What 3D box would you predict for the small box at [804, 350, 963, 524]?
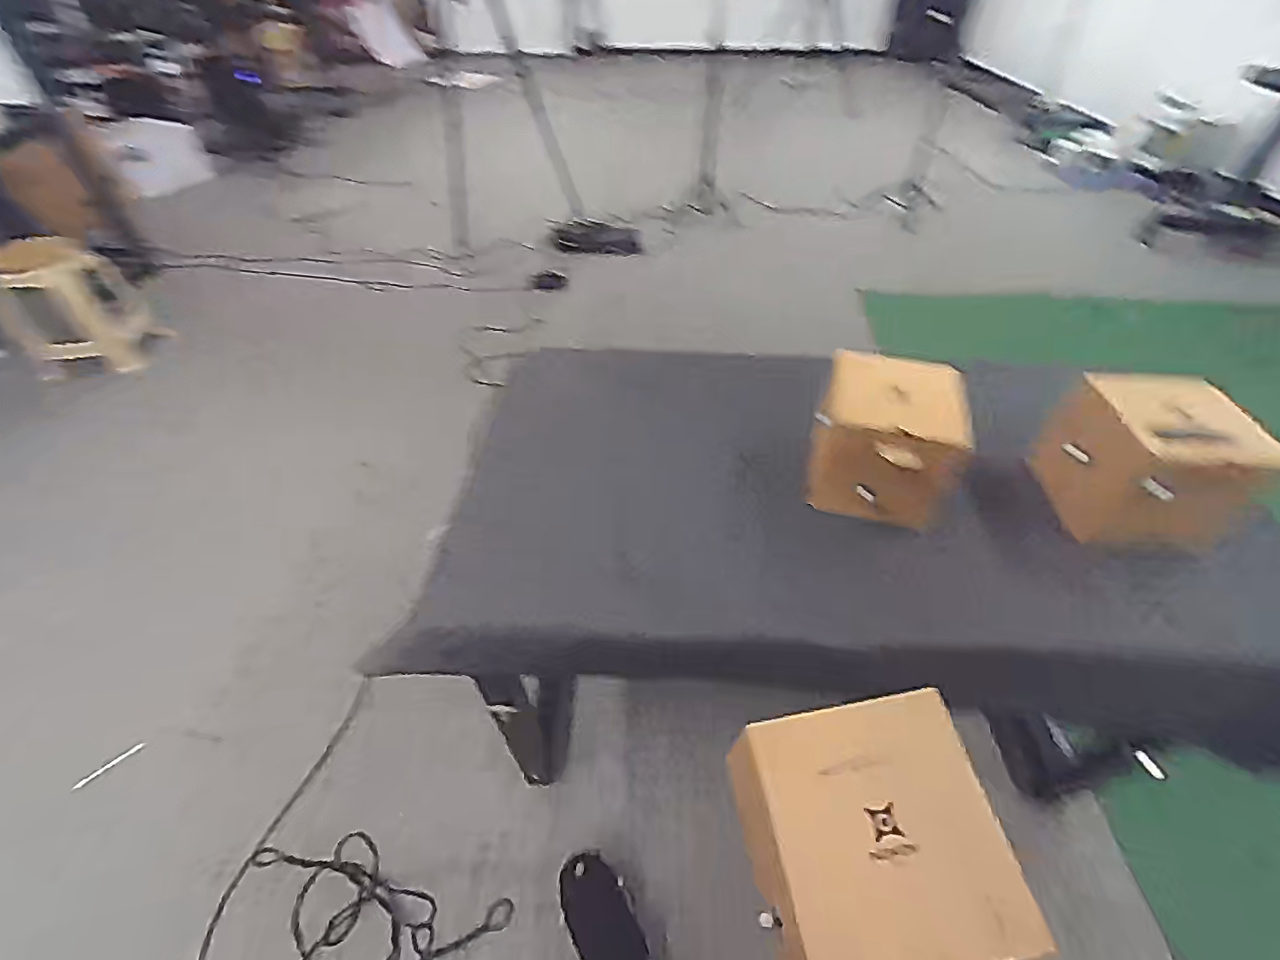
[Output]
[{"bbox_3d":[0.348,-0.064,0.804,0.168,0.176,0.179,12,47,11],"label":"small box"}]
